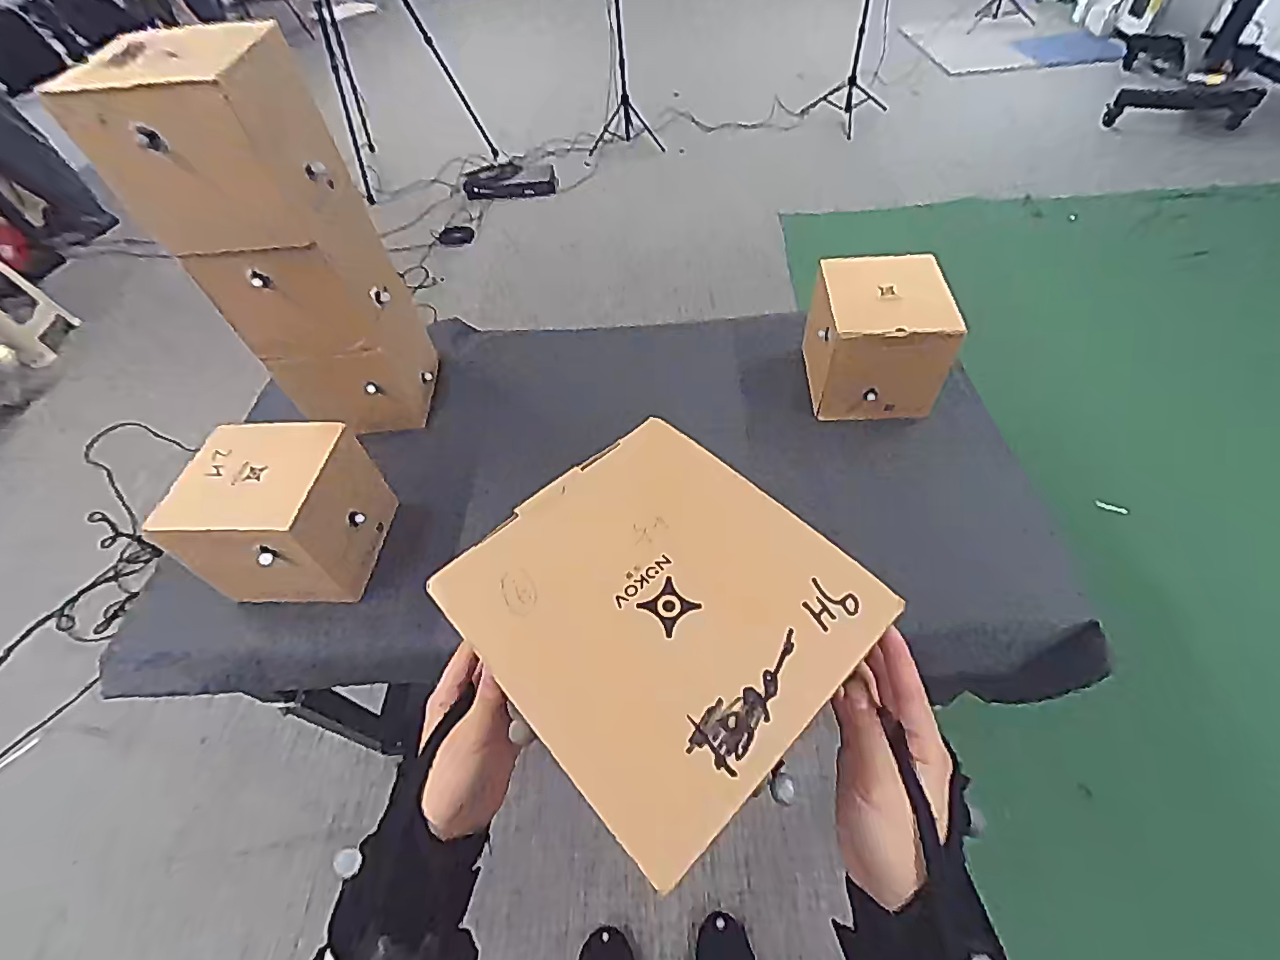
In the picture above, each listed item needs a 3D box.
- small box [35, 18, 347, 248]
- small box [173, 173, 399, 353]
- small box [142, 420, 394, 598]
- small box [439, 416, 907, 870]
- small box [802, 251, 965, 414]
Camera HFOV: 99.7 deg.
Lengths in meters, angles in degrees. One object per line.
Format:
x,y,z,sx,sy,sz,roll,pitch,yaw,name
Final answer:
-0.472,-0.381,0.607,0.179,0.176,0.168,-3,55,1,small box
-0.465,-0.292,0.745,0.179,0.176,0.168,-5,55,0,small box
-0.449,0.041,0.694,0.179,0.176,0.168,-1,50,4,small box
0.015,0.101,0.331,0.168,0.176,0.179,-38,61,-22,small box
0.350,-0.220,0.818,0.168,0.176,0.179,-1,55,5,small box
